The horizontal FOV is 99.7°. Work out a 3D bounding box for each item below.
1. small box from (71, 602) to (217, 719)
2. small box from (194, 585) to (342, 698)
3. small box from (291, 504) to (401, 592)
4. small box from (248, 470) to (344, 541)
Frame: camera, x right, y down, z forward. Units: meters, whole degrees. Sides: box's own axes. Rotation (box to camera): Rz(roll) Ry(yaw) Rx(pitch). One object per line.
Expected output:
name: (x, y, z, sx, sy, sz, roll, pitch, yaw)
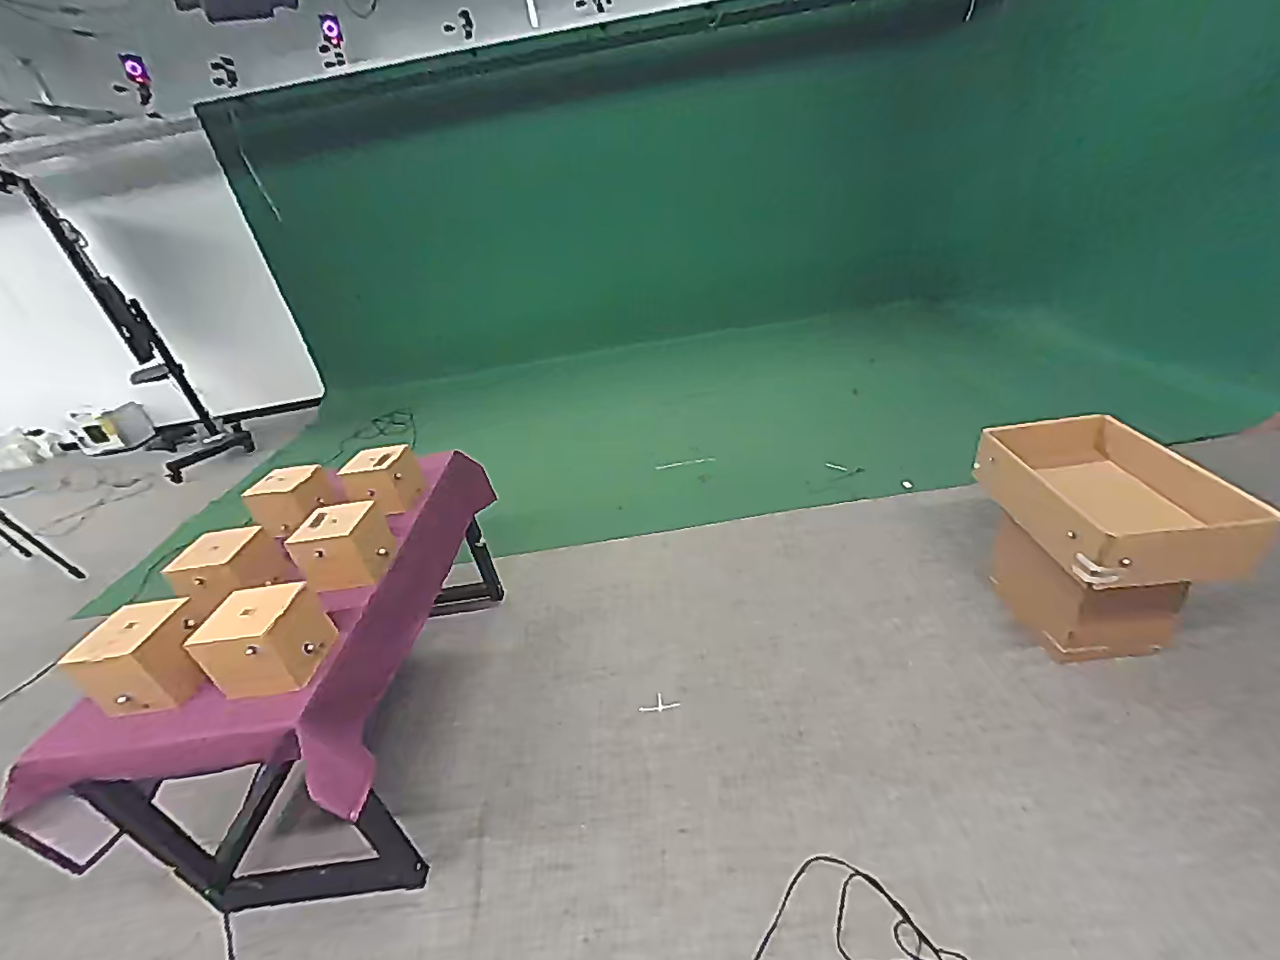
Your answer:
small box: (-1.075, 0.402, 1.212, 0.168, 0.176, 0.179, -9, 29, 5)
small box: (-0.807, 0.359, 1.192, 0.179, 0.176, 0.168, -9, 29, 4)
small box: (-0.793, 0.188, 1.477, 0.179, 0.176, 0.168, -9, 30, 5)
small box: (-1.115, 0.085, 1.771, 0.179, 0.176, 0.168, -6, 30, 9)
